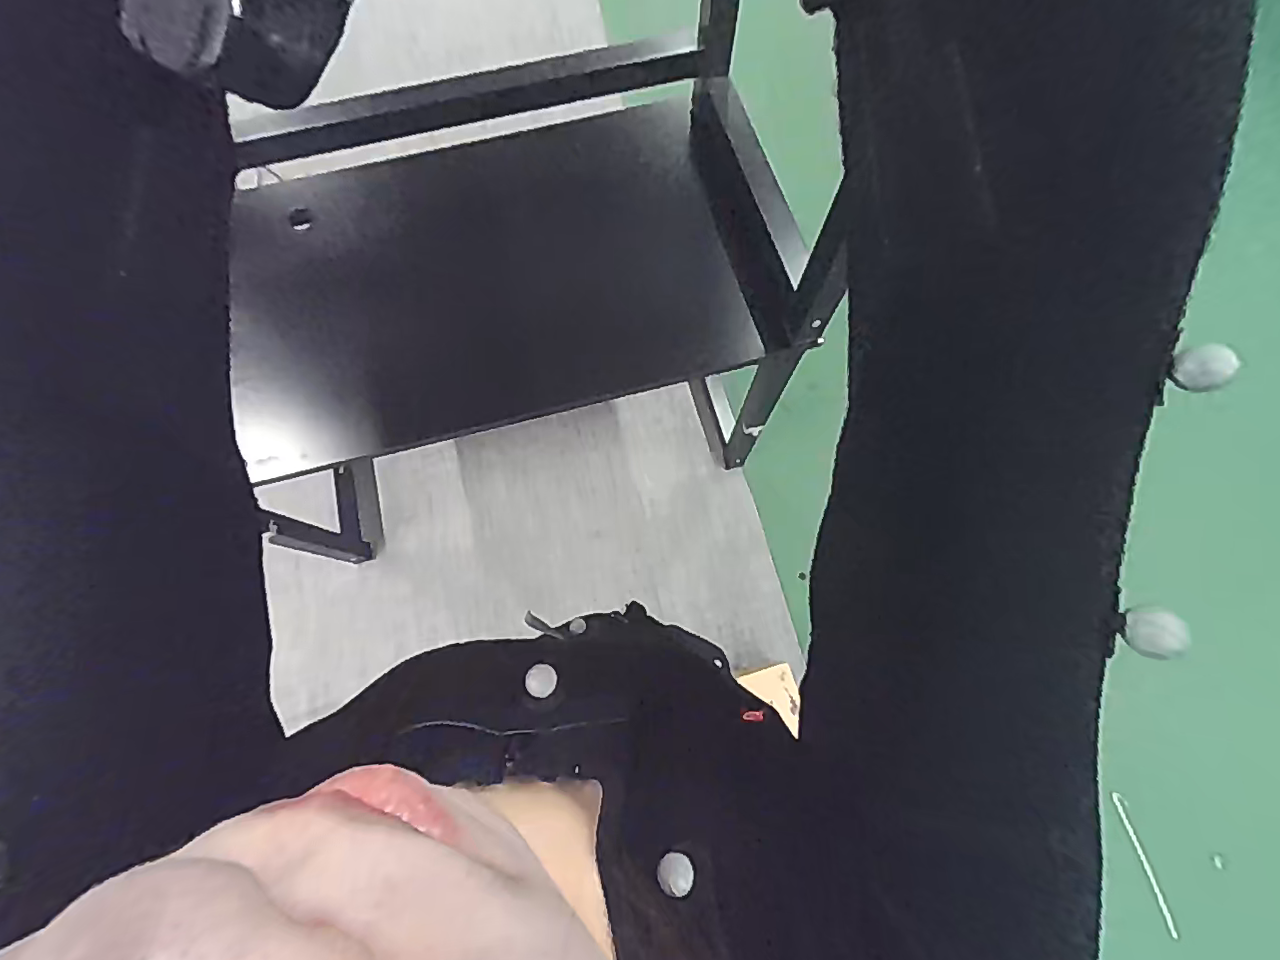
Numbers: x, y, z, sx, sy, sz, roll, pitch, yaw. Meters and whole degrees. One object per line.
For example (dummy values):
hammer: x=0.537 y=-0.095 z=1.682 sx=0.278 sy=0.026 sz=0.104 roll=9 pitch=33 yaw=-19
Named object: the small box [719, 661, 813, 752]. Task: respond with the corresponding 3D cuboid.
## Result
small box: x=0.305 y=0.561 z=1.357 sx=0.179 sy=0.176 sz=0.168 roll=-16 pitch=74 yaw=-4
